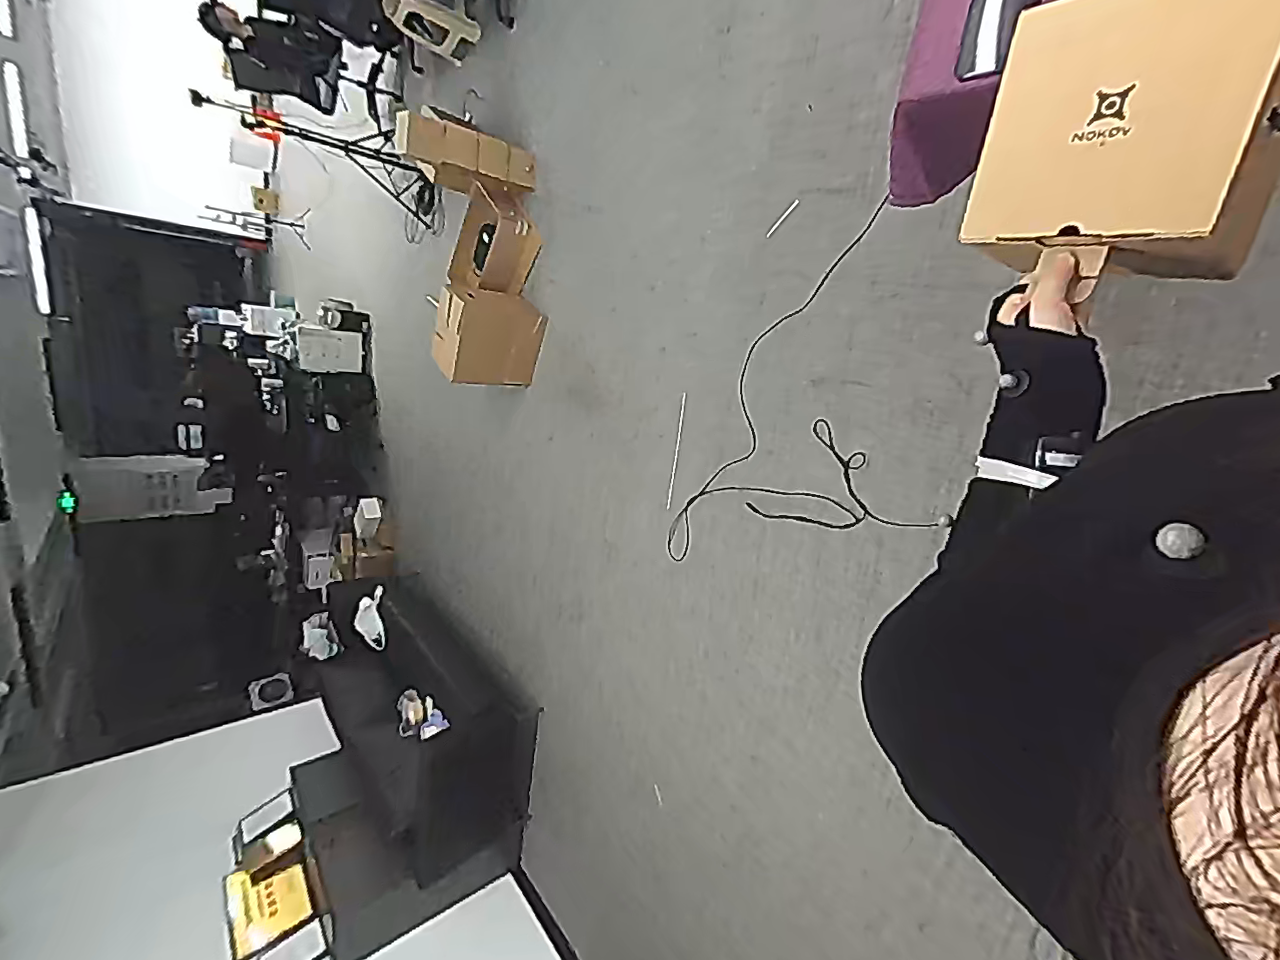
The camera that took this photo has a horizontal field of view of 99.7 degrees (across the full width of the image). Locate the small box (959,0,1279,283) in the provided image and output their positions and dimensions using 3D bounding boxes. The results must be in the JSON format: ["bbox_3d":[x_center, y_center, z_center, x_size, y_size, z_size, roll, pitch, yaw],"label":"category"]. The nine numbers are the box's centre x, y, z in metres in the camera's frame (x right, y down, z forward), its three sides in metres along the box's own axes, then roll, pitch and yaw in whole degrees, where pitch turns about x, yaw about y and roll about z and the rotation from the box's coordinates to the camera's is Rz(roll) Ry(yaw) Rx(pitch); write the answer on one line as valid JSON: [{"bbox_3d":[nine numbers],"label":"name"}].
[{"bbox_3d":[0.408,-0.274,0.454,0.168,0.176,0.179,26,114,46],"label":"small box"}]
